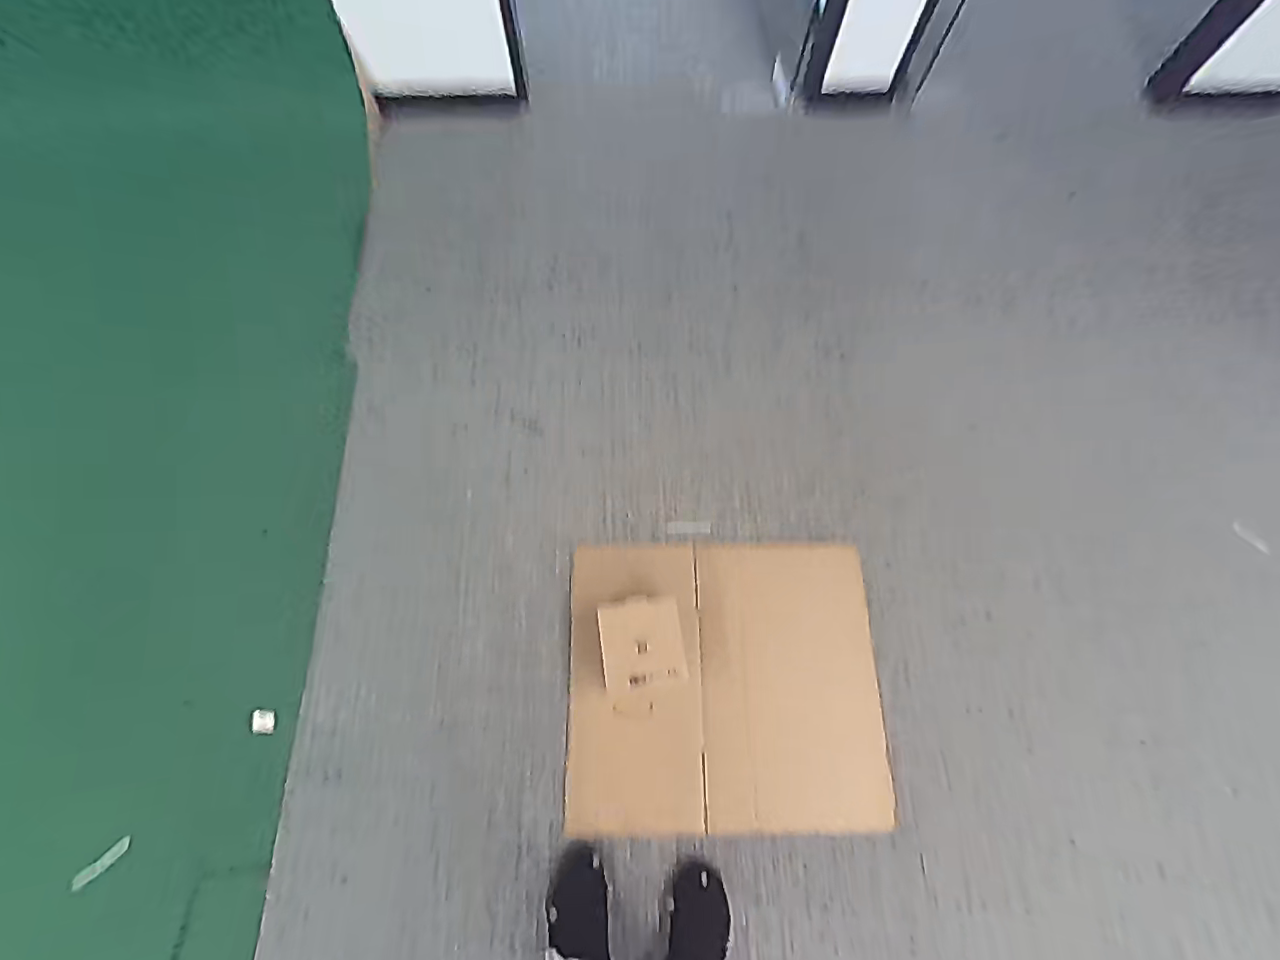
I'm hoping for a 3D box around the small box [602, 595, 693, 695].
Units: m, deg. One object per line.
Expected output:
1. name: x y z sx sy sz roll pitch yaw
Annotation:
1. small box: 0.010 0.354 1.154 0.168 0.176 0.179 -8 71 -4
